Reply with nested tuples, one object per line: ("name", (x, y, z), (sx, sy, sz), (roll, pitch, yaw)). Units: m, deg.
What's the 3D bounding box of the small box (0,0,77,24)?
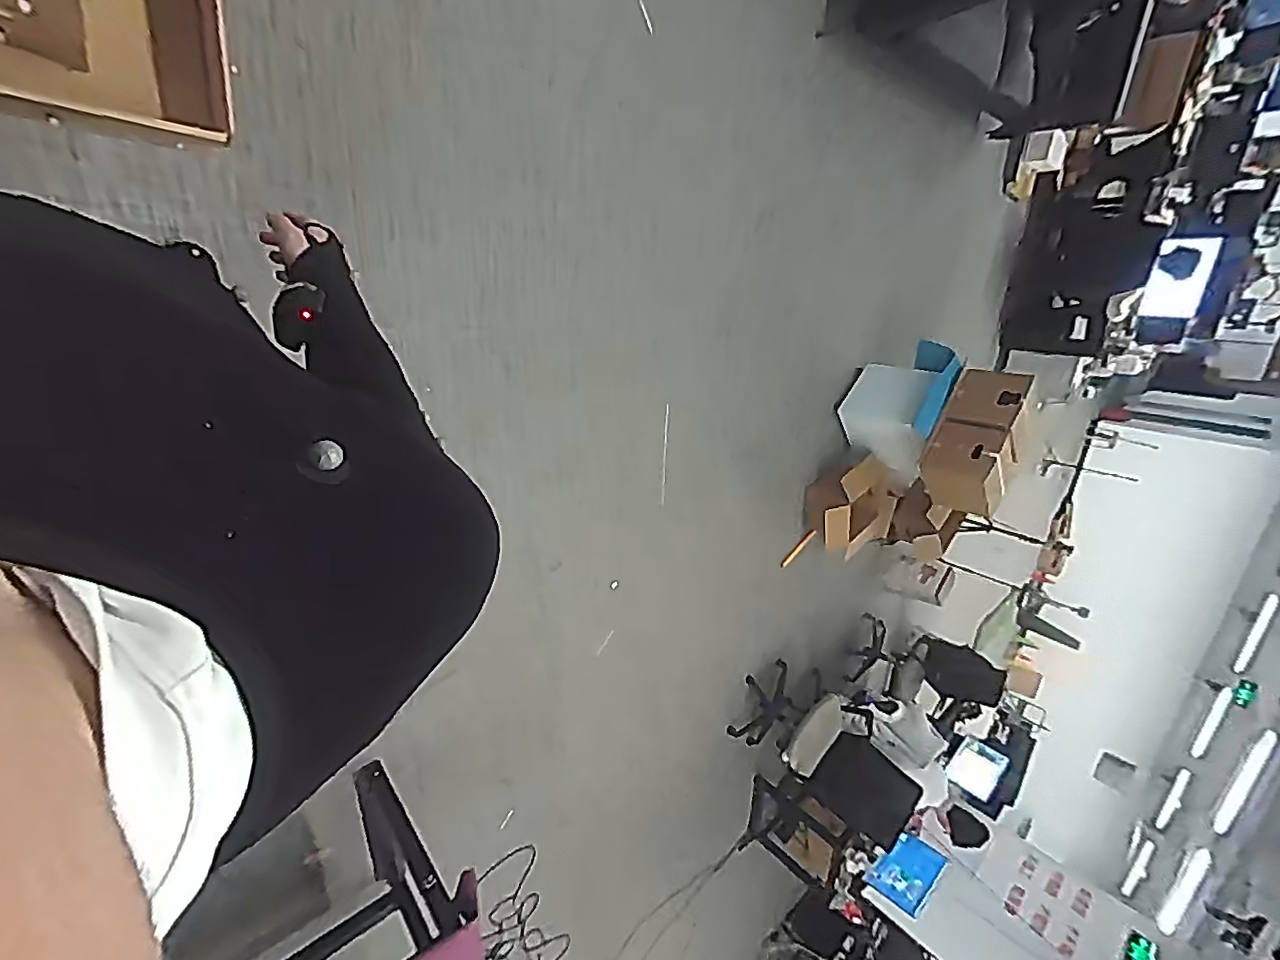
("small box", (-0.673, -0.599, 0.525), (0.168, 0.176, 0.179), (-4, 108, -44))
